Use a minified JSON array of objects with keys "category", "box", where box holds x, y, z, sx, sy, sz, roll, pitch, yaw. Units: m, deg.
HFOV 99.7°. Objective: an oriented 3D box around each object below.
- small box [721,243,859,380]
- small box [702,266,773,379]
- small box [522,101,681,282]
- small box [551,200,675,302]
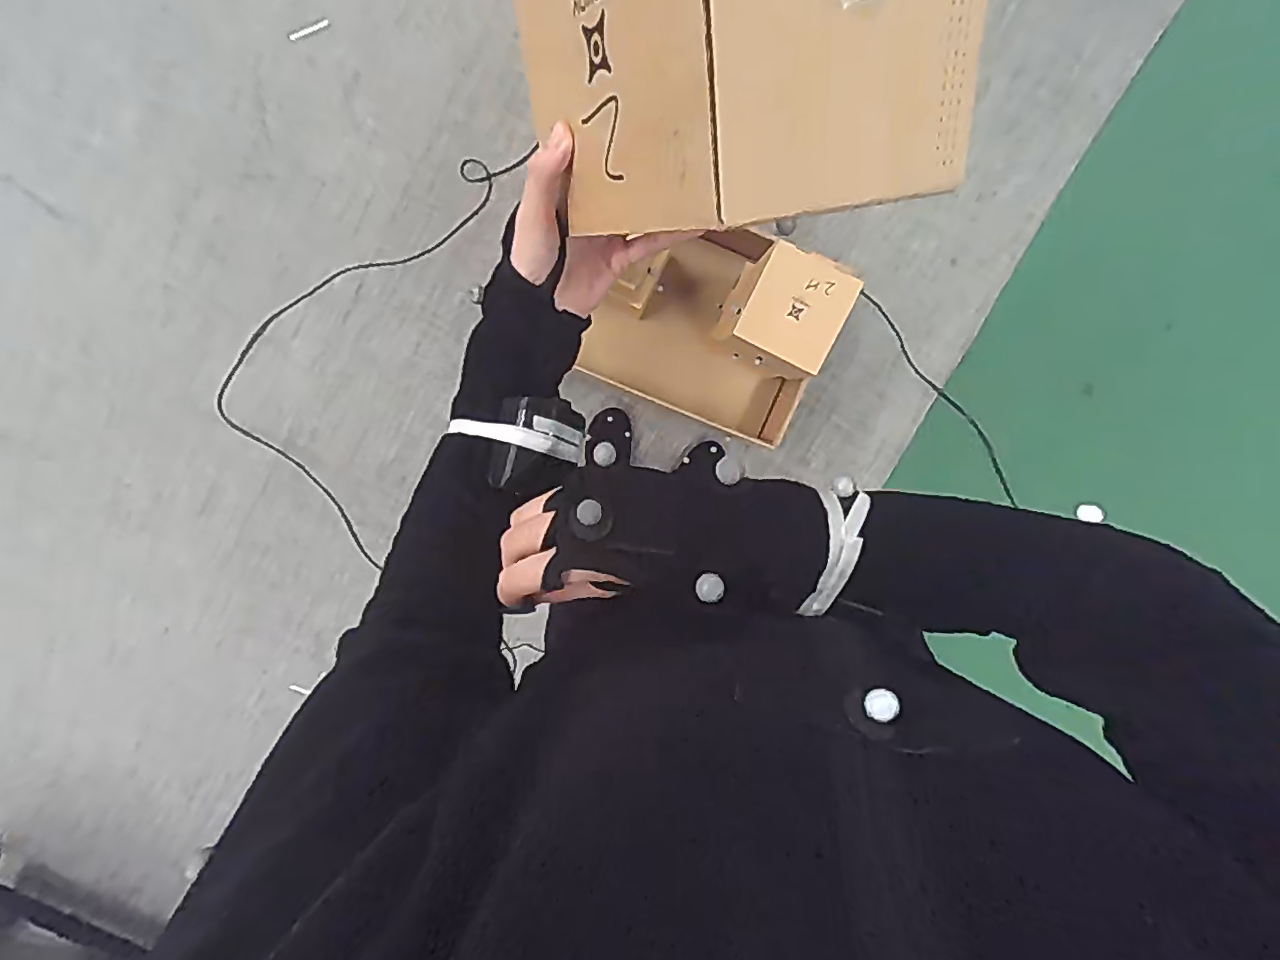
[{"category":"small box","box":[0.263,-0.296,0.999,0.168,0.176,0.179,26,96,-5]},{"category":"small box","box":[0.249,-0.326,1.162,0.179,0.176,0.168,26,97,-3]},{"category":"small box","box":[-0.052,-0.417,0.818,0.179,0.176,0.168,22,99,-3]},{"category":"small box","box":[-0.055,-0.441,0.978,0.179,0.176,0.168,27,98,-5]}]
